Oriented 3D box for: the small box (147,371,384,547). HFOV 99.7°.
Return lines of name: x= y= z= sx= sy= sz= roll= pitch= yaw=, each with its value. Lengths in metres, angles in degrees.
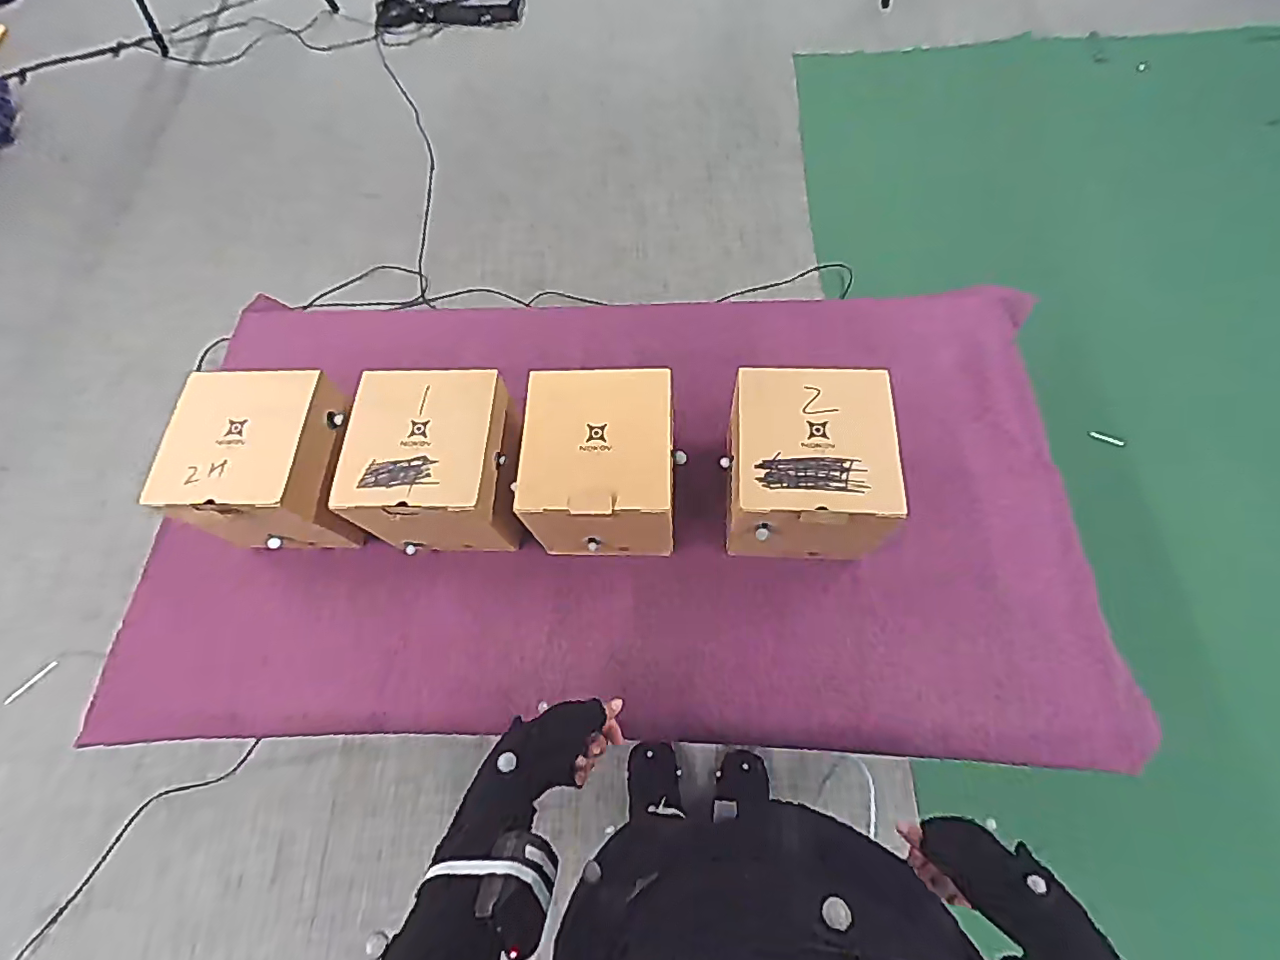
small box: x=-0.459 y=-0.022 z=0.699 sx=0.168 sy=0.176 sz=0.179 roll=-1 pitch=68 yaw=4
